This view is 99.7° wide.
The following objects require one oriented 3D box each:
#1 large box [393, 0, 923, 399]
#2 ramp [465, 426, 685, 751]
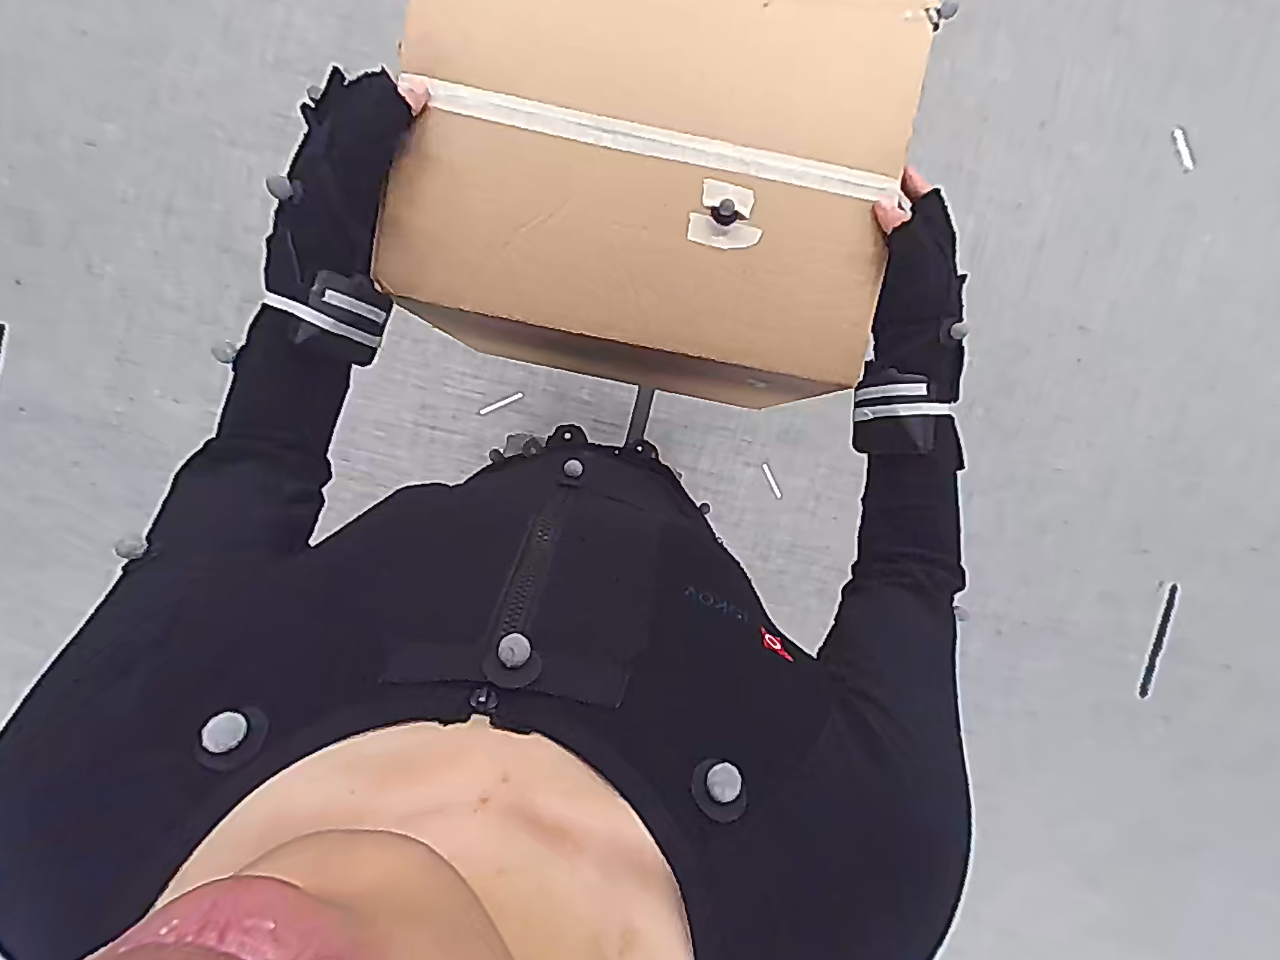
[{"bbox_3d":[0.007,-0.286,0.594,0.408,0.320,0.320,11,94,-3],"label":"large box"},{"bbox_3d":[-0.216,0.367,1.611,0.509,0.206,0.991,11,96,-4],"label":"ramp"}]
